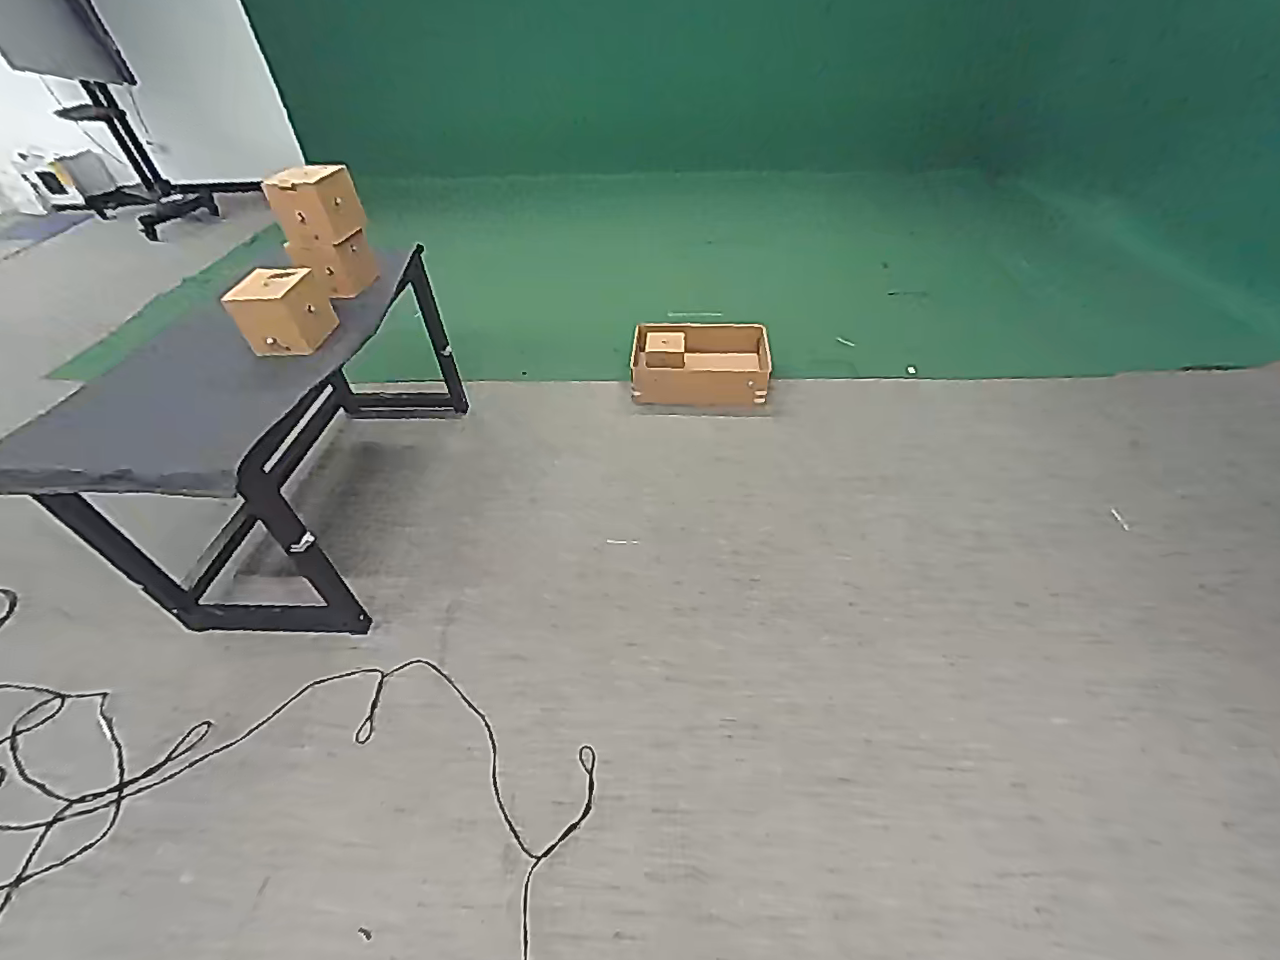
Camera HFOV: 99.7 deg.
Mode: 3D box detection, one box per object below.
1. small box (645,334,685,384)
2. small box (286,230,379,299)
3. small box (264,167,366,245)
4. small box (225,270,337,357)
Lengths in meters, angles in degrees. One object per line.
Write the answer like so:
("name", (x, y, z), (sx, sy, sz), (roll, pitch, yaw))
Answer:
("small box", (0.118, -0.557, 2.503), (0.179, 0.176, 0.168), (2, 46, 3))
("small box", (-0.965, -0.690, 1.719), (0.168, 0.176, 0.179), (3, 44, 6))
("small box", (-0.954, -0.815, 1.612), (0.168, 0.176, 0.179), (5, 45, 8))
("small box", (-0.963, -0.454, 1.474), (0.168, 0.176, 0.179), (0, 46, 5))
